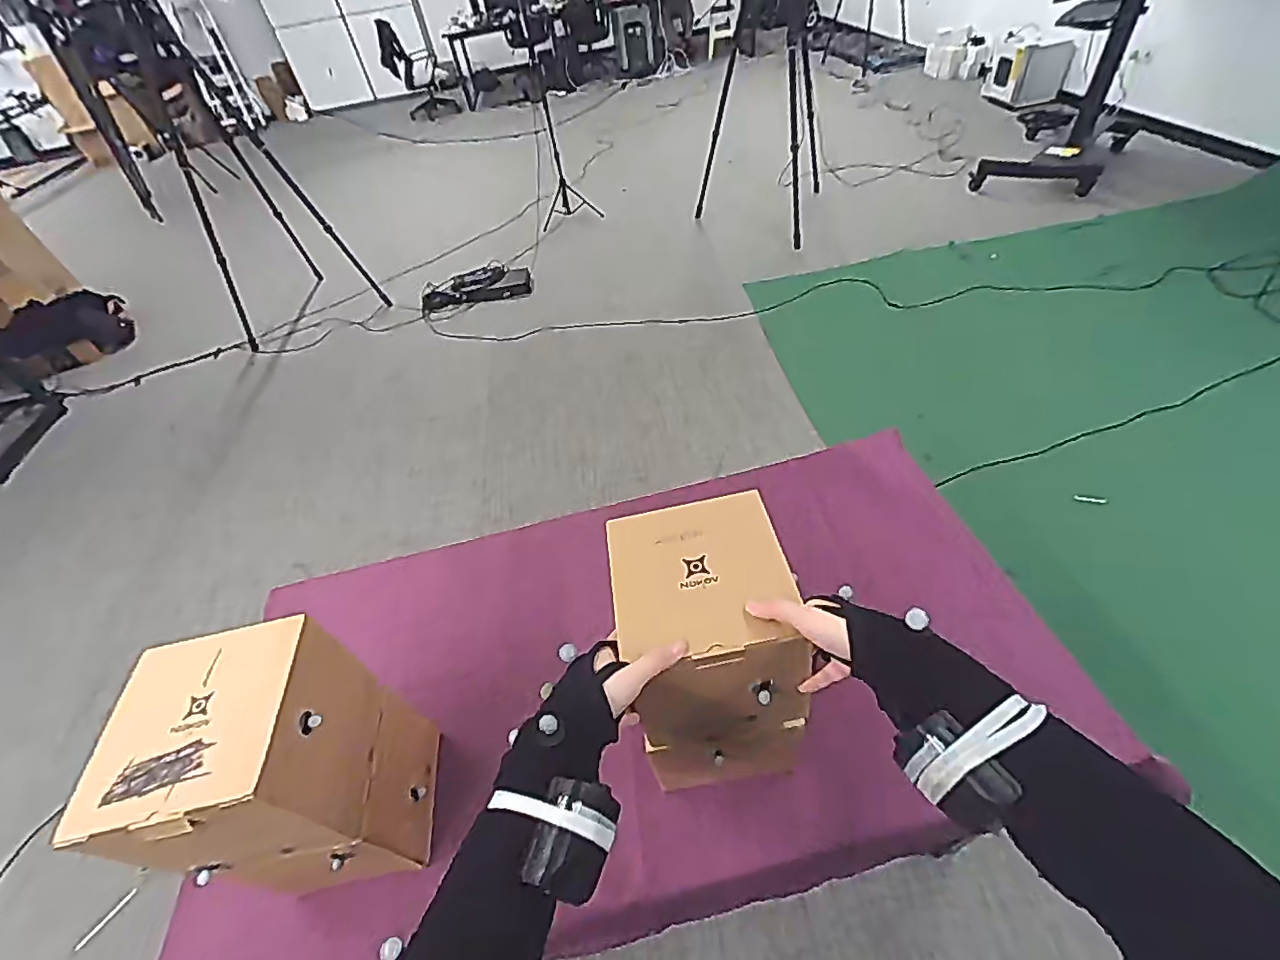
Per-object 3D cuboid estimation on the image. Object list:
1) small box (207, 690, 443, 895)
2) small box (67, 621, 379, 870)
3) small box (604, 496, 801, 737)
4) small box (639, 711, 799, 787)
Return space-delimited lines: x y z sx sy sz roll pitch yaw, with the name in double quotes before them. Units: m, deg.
"small box" -0.370 0.393 0.676 0.179 0.176 0.168 -13 46 -1
"small box" -0.397 0.279 0.561 0.168 0.176 0.179 -13 45 -2
"small box" 0.064 0.148 0.565 0.168 0.176 0.179 -12 42 3
"small box" 0.092 0.273 0.690 0.179 0.176 0.168 -11 47 2
